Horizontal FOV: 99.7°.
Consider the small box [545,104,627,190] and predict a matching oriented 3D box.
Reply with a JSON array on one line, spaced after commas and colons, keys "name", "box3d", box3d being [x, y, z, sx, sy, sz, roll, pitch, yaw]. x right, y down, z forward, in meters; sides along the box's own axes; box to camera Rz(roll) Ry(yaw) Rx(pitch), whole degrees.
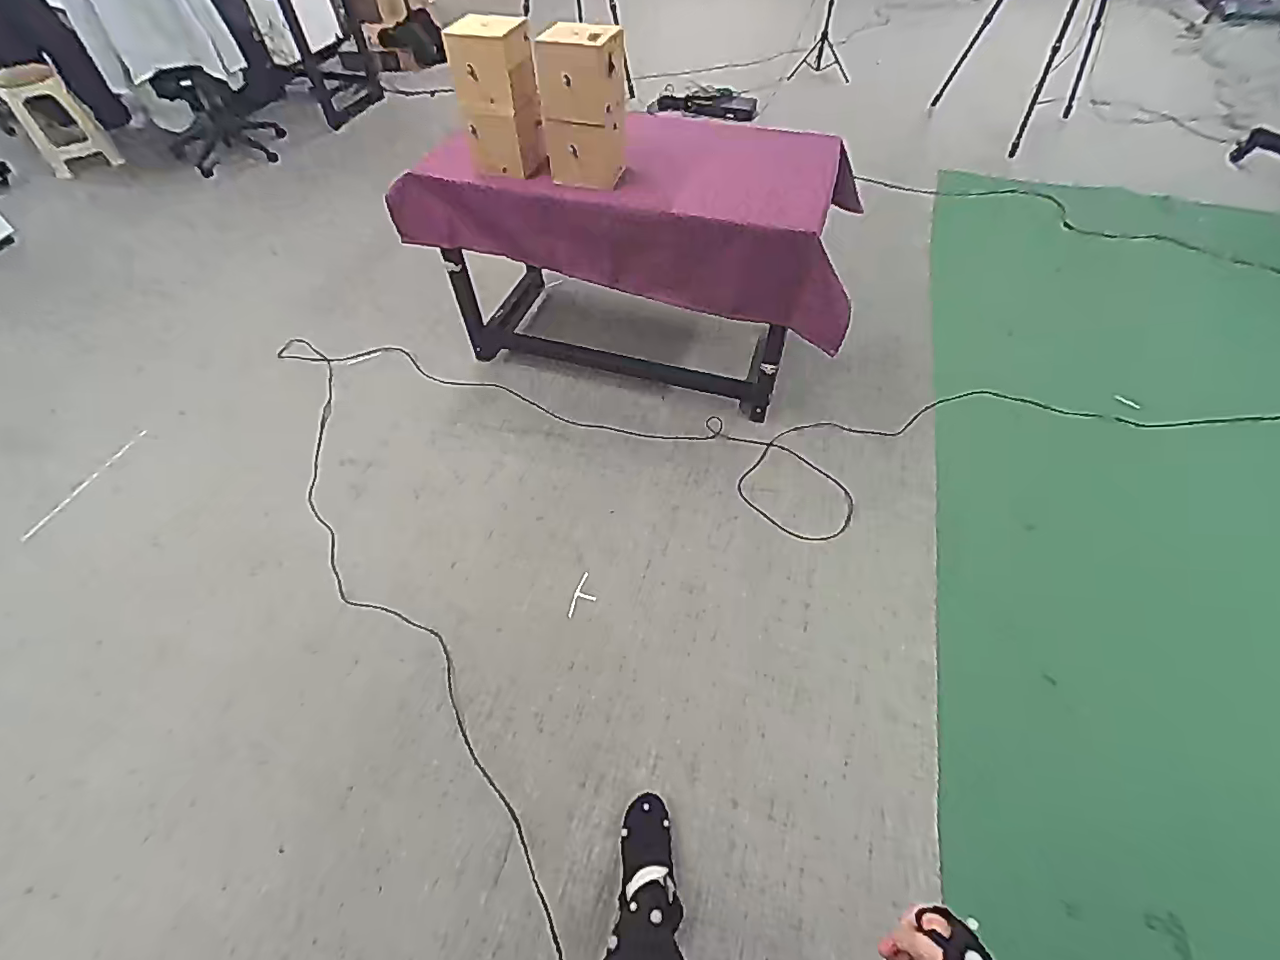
[{"name": "small box", "box3d": [-0.143, -0.939, 1.517, 0.179, 0.176, 0.168, 13, 55, 11]}]

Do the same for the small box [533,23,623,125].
[{"name": "small box", "box3d": [-0.148, -1.034, 1.383, 0.179, 0.176, 0.168, 14, 54, 12]}]

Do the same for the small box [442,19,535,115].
[{"name": "small box", "box3d": [-0.392, -1.102, 1.443, 0.168, 0.176, 0.179, 11, 53, 9]}]
